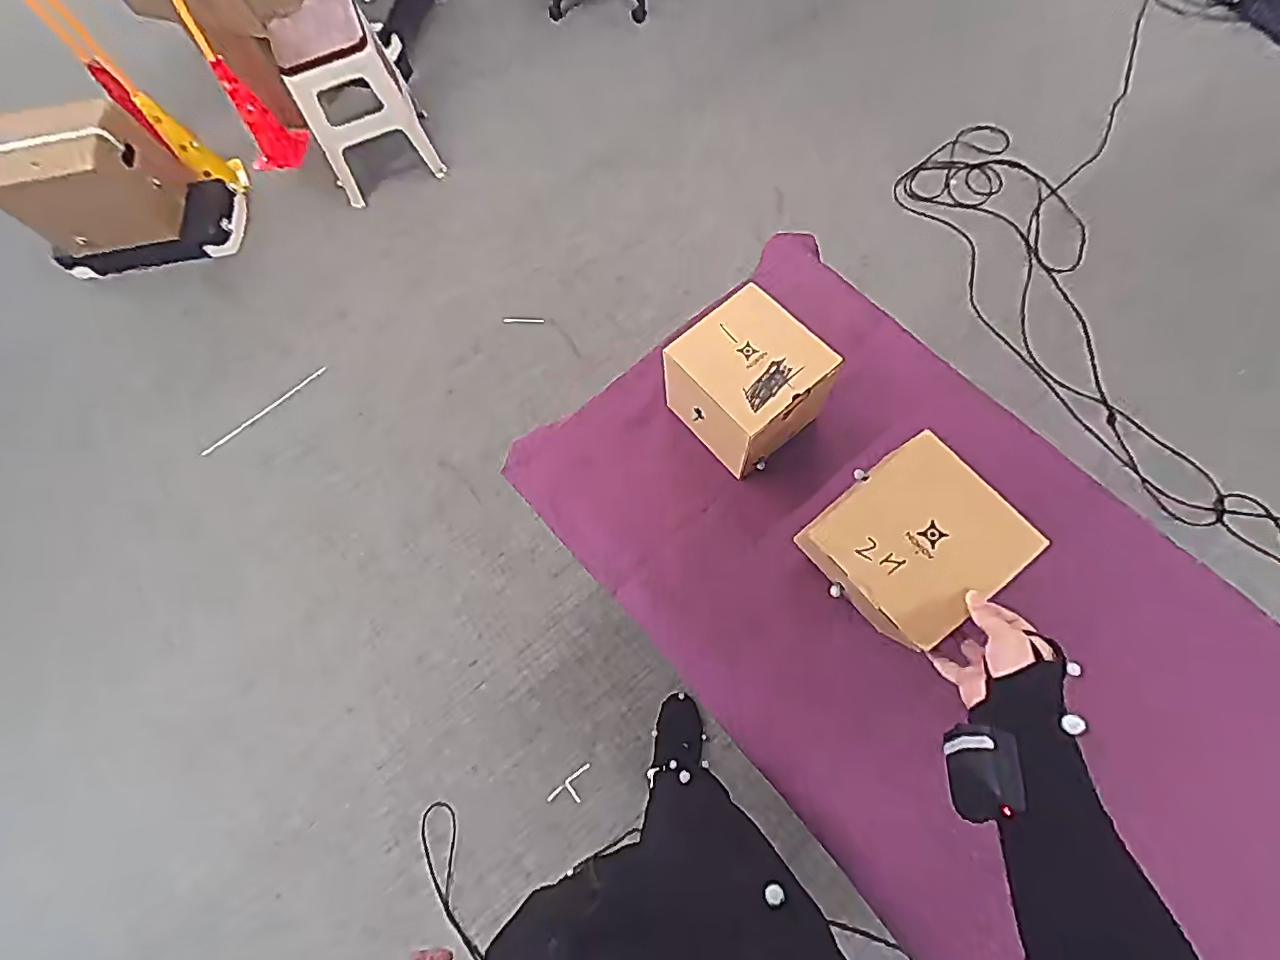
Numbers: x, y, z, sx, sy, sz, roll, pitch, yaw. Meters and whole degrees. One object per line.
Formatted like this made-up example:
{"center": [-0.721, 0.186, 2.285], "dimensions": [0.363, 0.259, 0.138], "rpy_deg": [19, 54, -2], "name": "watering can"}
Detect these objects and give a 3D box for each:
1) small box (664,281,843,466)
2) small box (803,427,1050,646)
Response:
{"center": [0.155, -0.140, 0.784], "dimensions": [0.168, 0.176, 0.179], "rpy_deg": [-38, 71, -8], "name": "small box"}
{"center": [0.317, 0.066, 0.646], "dimensions": [0.179, 0.176, 0.168], "rpy_deg": [-42, 77, 3], "name": "small box"}
